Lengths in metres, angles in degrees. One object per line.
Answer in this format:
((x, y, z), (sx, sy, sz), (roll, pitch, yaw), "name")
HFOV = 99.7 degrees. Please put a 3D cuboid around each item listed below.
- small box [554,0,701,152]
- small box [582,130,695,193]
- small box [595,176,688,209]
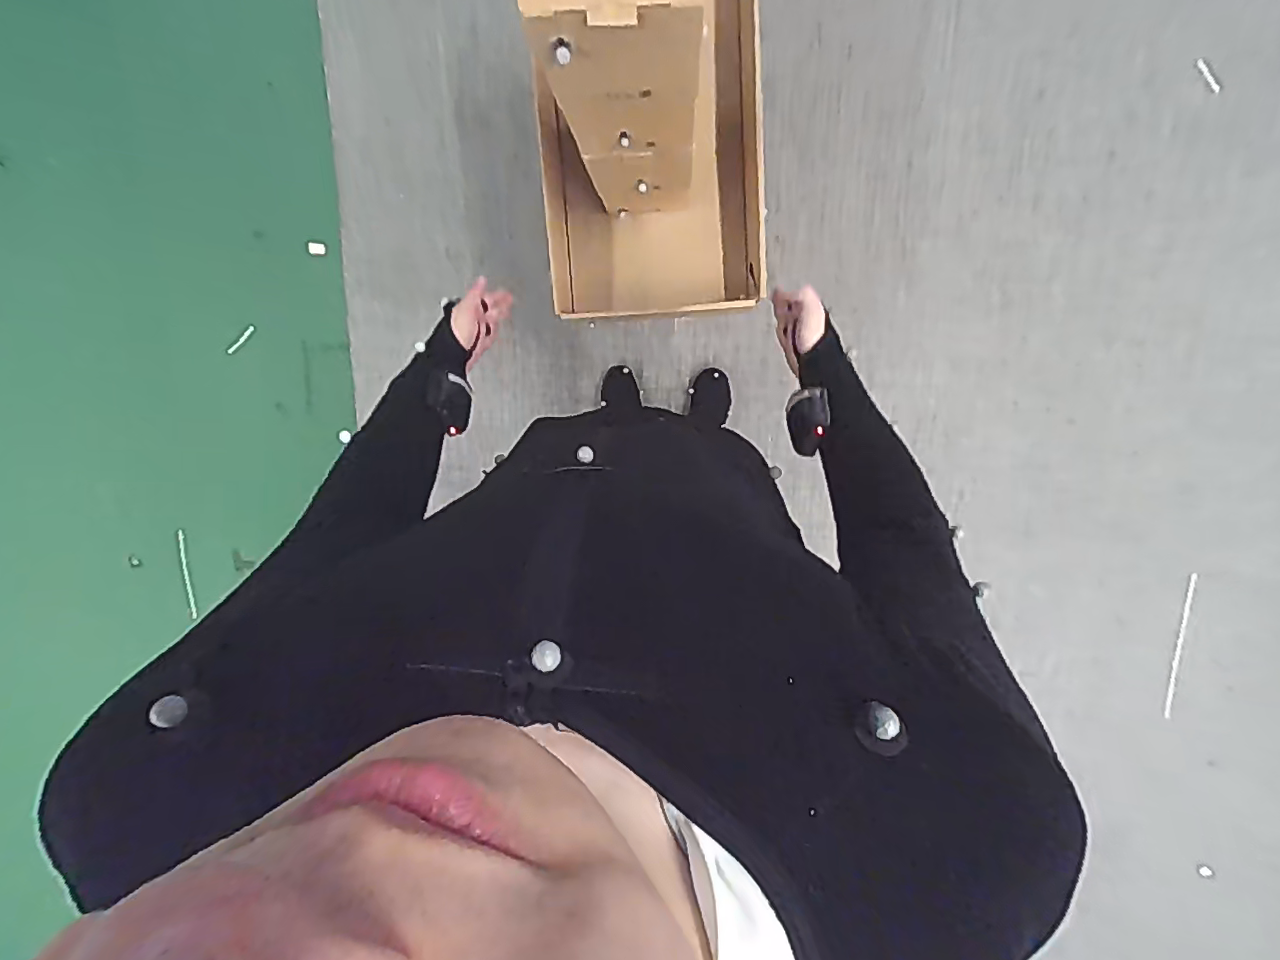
((-0.013, -0.548, 0.685), (0.168, 0.176, 0.179), (-3, 102, 3), "small box")
((-0.002, -0.575, 0.844), (0.168, 0.176, 0.179), (-3, 101, 4), "small box")
((0.006, -0.617, 1.003), (0.168, 0.176, 0.179), (-2, 100, 4), "small box")
